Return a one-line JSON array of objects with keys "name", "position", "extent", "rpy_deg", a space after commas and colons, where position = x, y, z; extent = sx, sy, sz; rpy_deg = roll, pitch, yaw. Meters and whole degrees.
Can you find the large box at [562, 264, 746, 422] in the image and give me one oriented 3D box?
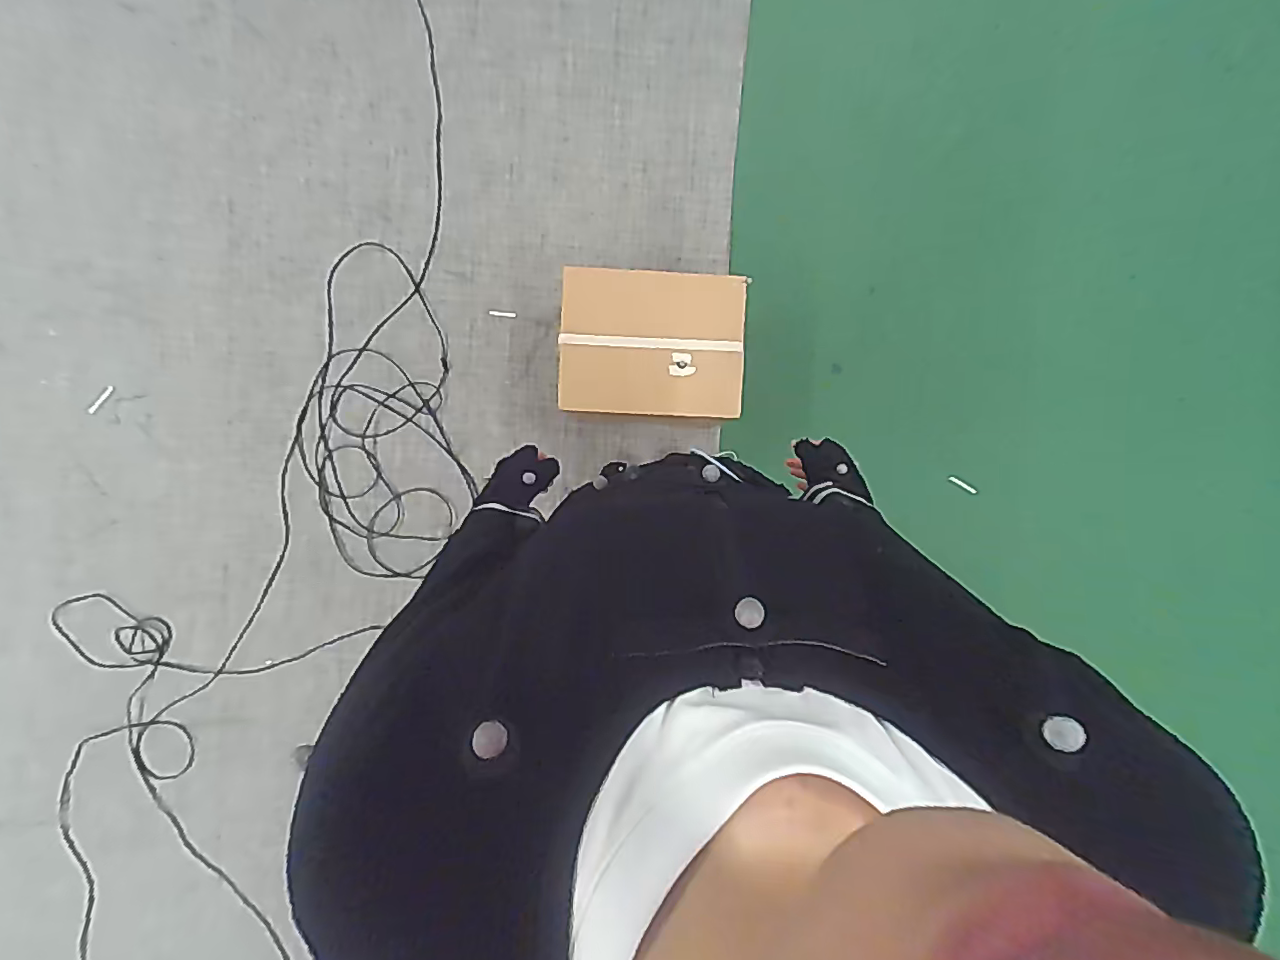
[{"name": "large box", "position": [0.024, -0.313, 1.328], "extent": [0.408, 0.320, 0.320], "rpy_deg": [2, 92, -2]}]
